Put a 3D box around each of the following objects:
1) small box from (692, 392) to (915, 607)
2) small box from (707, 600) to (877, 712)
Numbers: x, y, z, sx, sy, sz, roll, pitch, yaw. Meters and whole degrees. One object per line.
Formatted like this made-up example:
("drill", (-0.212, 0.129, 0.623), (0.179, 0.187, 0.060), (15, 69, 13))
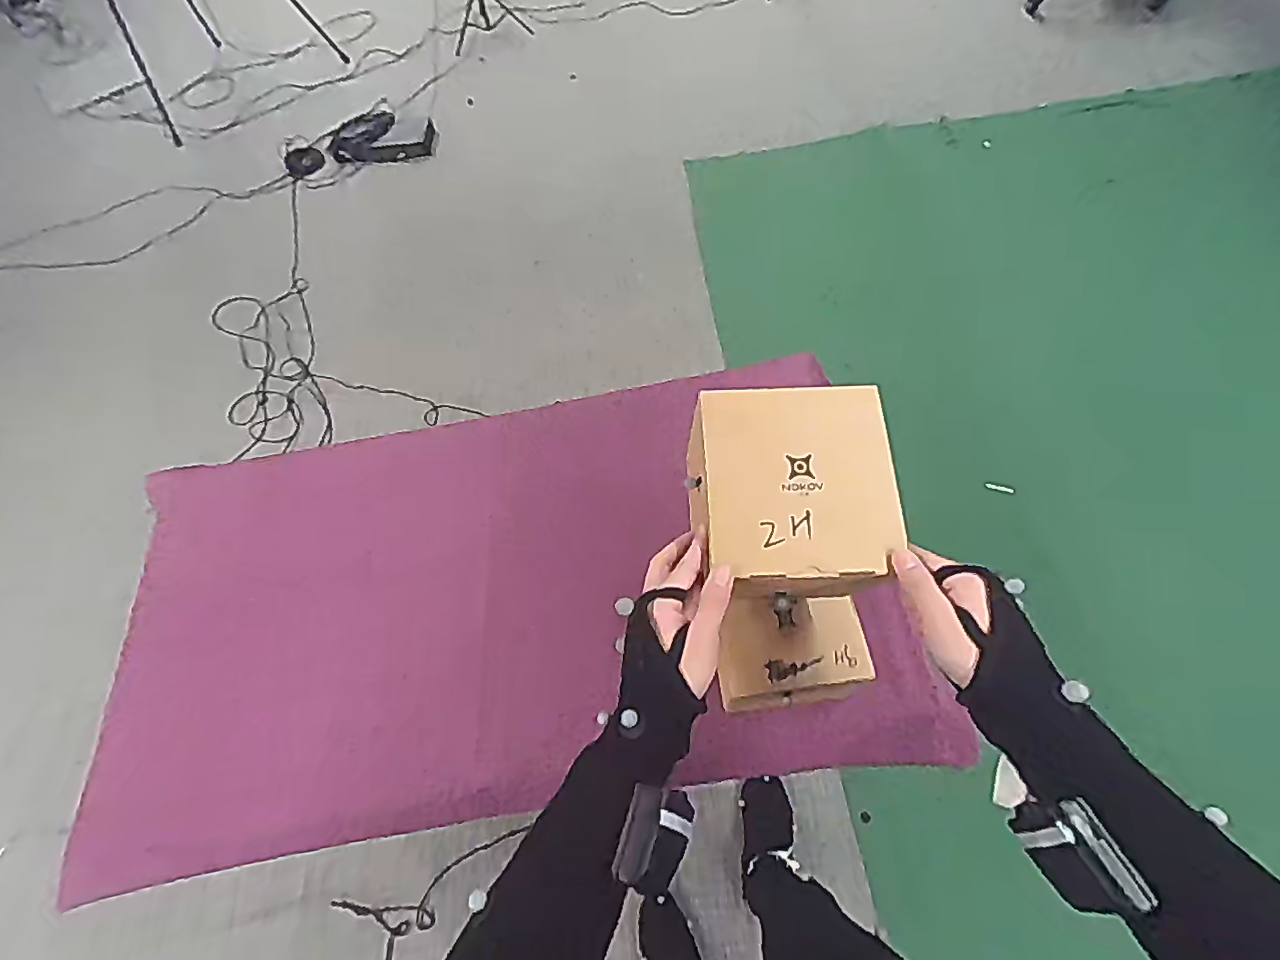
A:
("small box", (0.143, 0.028, 0.543), (0.168, 0.176, 0.179), (-1, 70, 1))
("small box", (0.181, 0.194, 0.711), (0.168, 0.176, 0.179), (-8, 60, 2))
